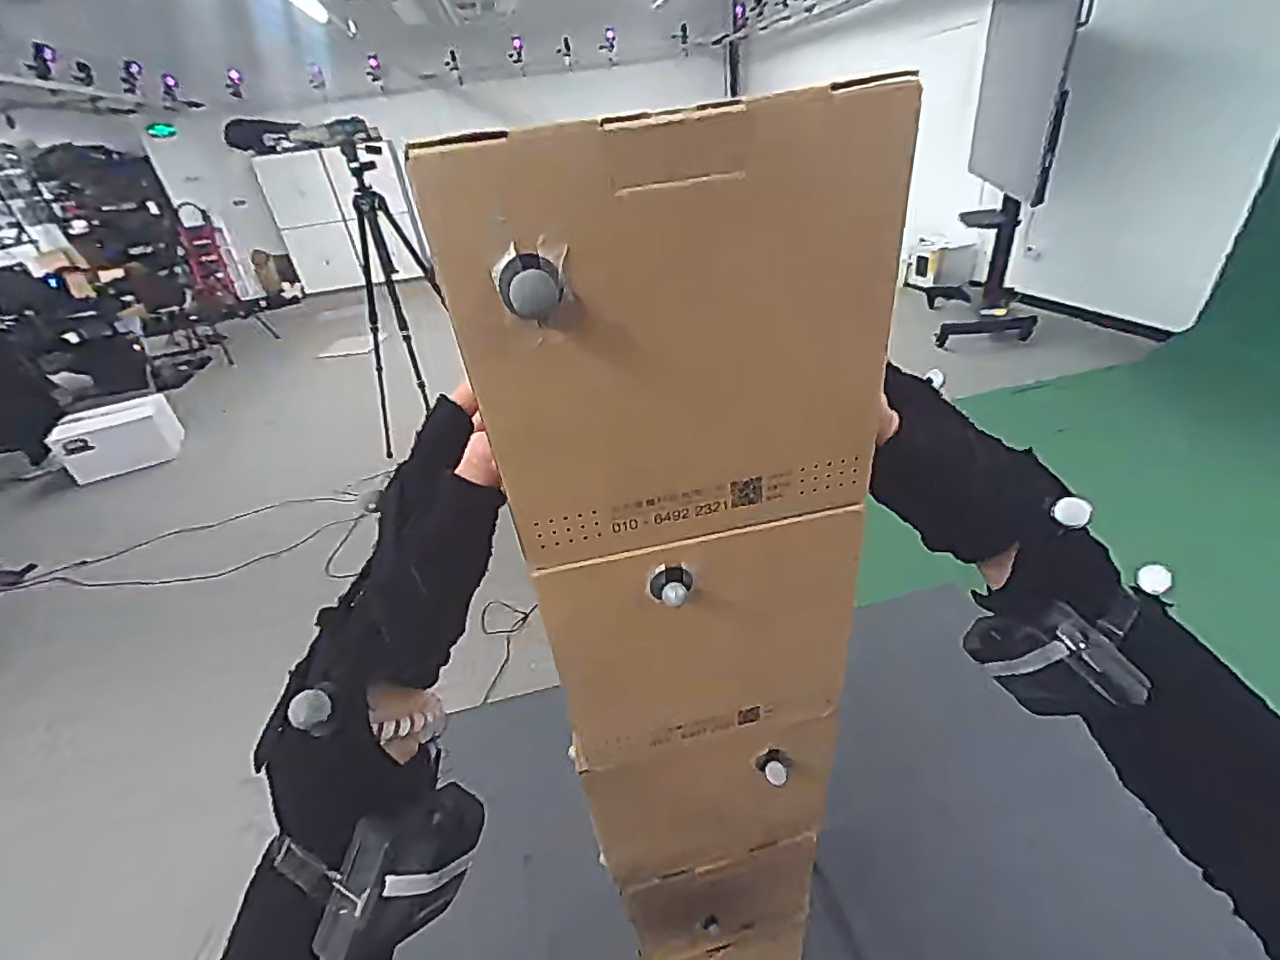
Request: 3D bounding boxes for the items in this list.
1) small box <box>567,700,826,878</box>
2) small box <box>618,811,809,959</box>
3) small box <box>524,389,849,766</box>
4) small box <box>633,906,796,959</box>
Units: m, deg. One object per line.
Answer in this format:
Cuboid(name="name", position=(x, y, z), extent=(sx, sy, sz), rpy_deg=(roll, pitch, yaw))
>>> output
Cuboid(name="small box", position=(0.036, 0.195, 0.461), extent=(0.179, 0.176, 0.168), rpy_deg=(-13, 32, -6))
Cuboid(name="small box", position=(0.053, 0.331, 0.552), extent=(0.168, 0.176, 0.179), rpy_deg=(-13, 33, -7))
Cuboid(name="small box", position=(0.020, 0.057, 0.375), extent=(0.168, 0.176, 0.179), rpy_deg=(-11, 32, -5))
Cuboid(name="small box", position=(0.072, 0.467, 0.639), extent=(0.168, 0.176, 0.179), rpy_deg=(-13, 32, -7))
